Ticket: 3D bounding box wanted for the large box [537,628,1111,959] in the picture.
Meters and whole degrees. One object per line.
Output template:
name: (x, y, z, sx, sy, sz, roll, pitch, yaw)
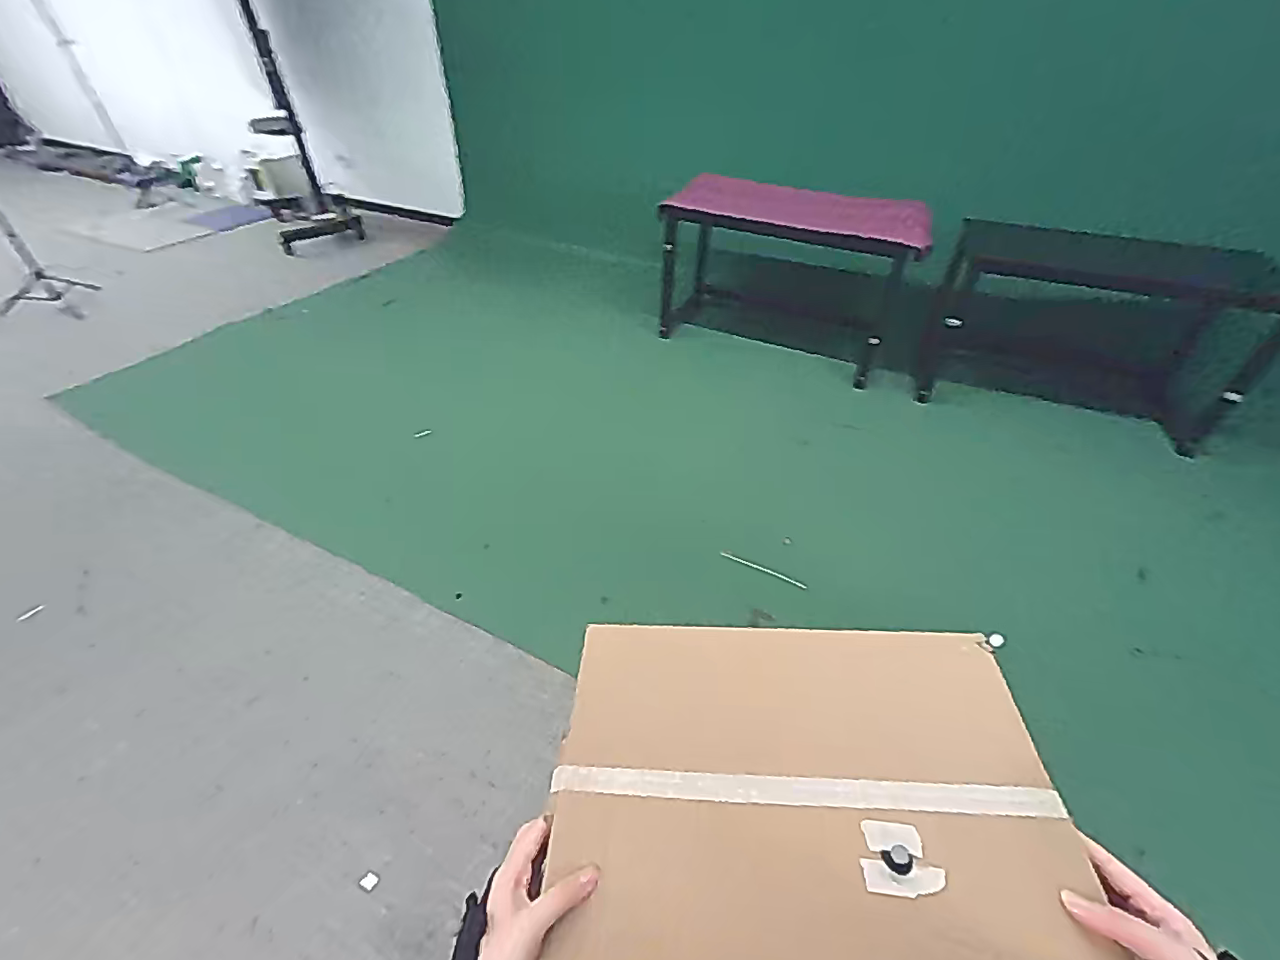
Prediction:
large box: (0.136, 0.372, 0.559, 0.408, 0.320, 0.320, 0, 42, 5)
